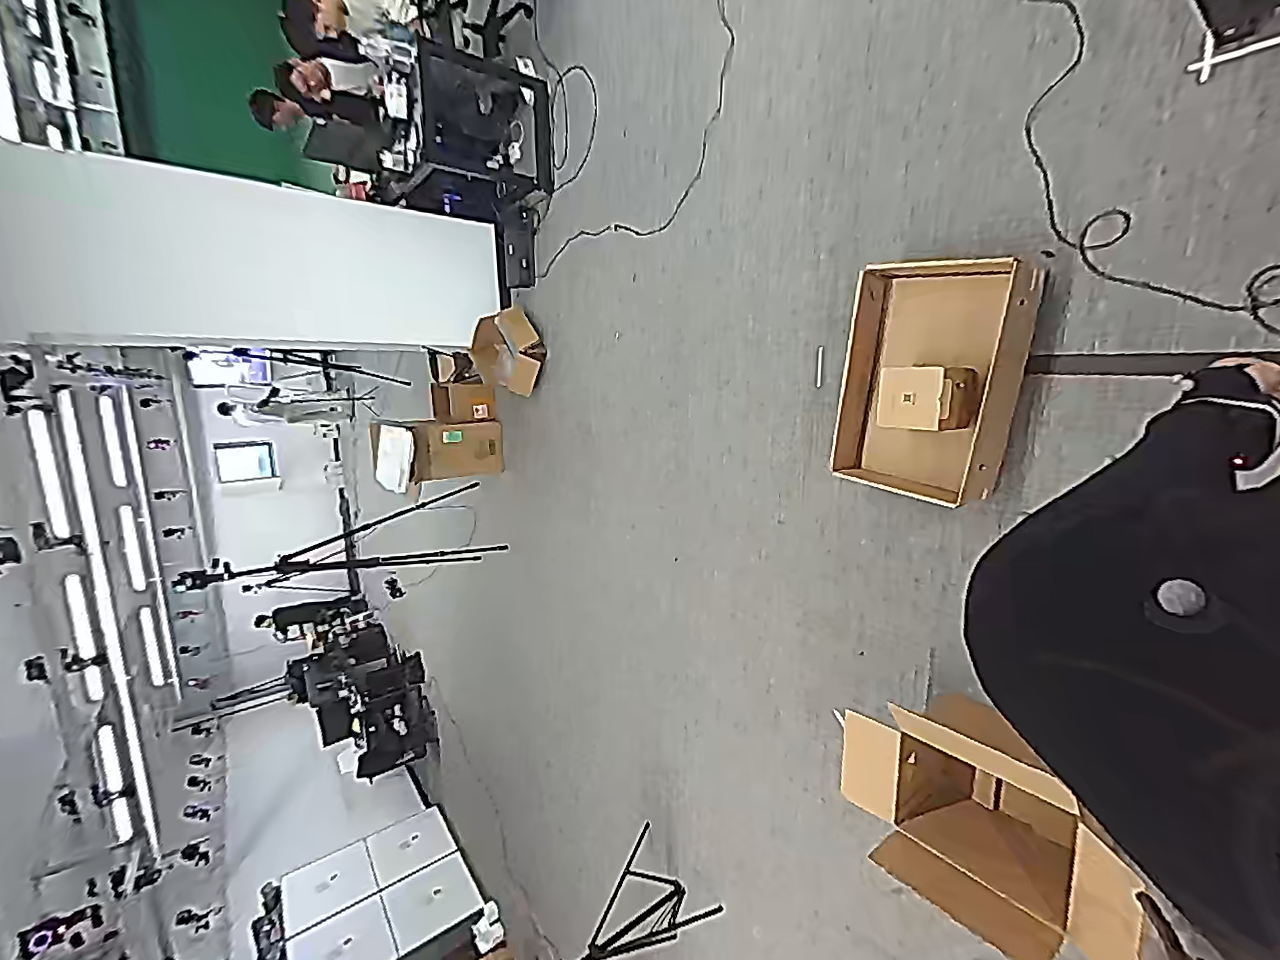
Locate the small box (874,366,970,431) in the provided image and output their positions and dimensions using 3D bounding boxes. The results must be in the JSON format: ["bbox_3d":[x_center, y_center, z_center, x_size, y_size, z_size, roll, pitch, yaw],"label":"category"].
[{"bbox_3d":[0.778,-0.229,1.489,0.179,0.176,0.168,15,107,51],"label":"small box"}]
